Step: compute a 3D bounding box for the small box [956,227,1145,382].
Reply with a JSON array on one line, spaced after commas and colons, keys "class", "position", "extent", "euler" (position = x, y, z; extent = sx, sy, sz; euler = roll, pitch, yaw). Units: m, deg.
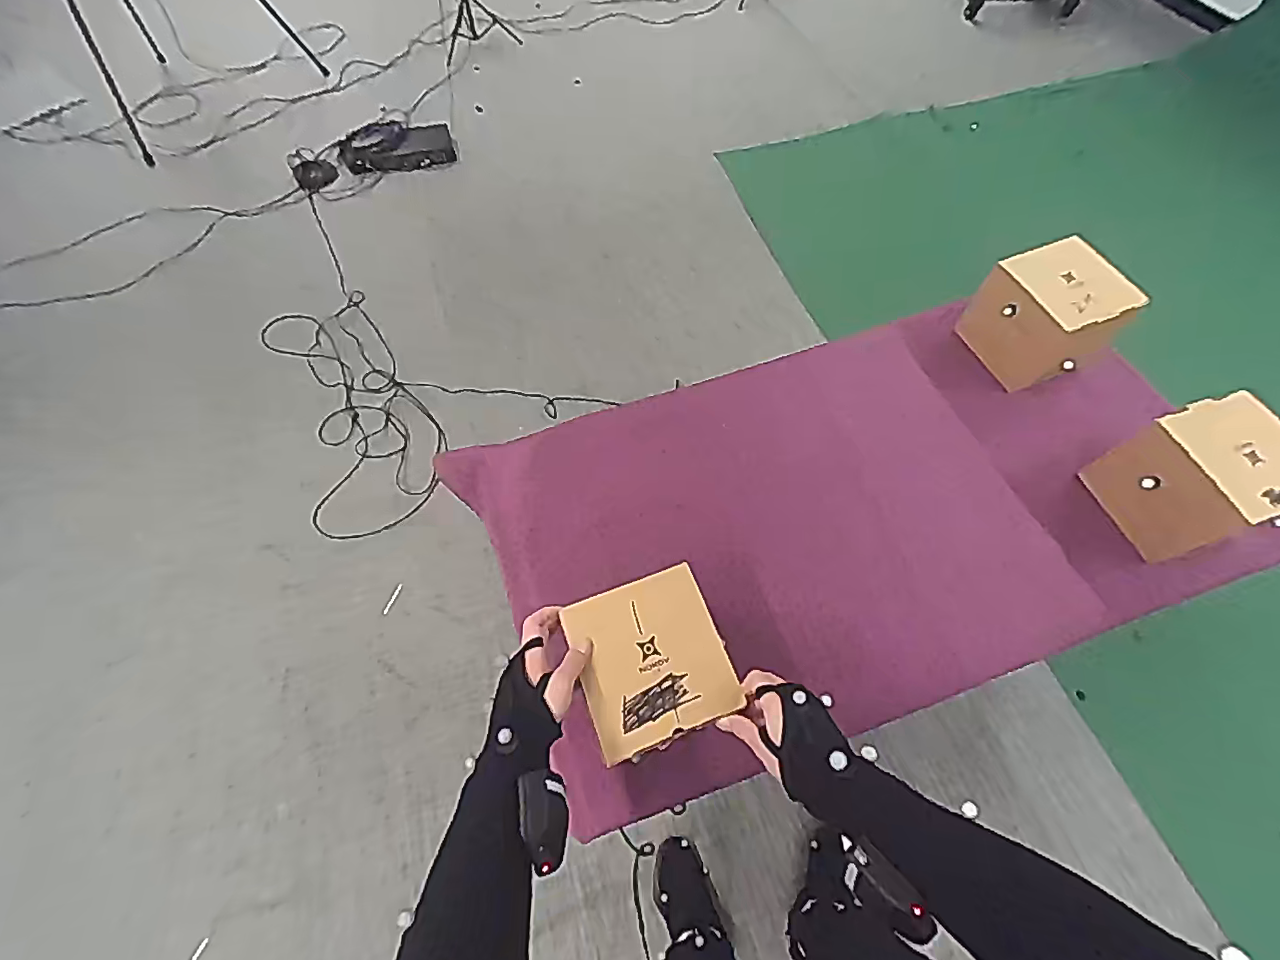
[{"class": "small box", "position": [0.717, -0.310, 0.972], "extent": [0.168, 0.176, 0.179], "euler": [-21, 65, -5]}]

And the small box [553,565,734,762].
[{"class": "small box", "position": [0.002, 0.234, 0.693], "extent": [0.168, 0.176, 0.179], "euler": [-19, 67, -8]}]

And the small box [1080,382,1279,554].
[{"class": "small box", "position": [0.836, -0.012, 0.818], "extent": [0.168, 0.176, 0.179], "euler": [-19, 64, -6]}]
